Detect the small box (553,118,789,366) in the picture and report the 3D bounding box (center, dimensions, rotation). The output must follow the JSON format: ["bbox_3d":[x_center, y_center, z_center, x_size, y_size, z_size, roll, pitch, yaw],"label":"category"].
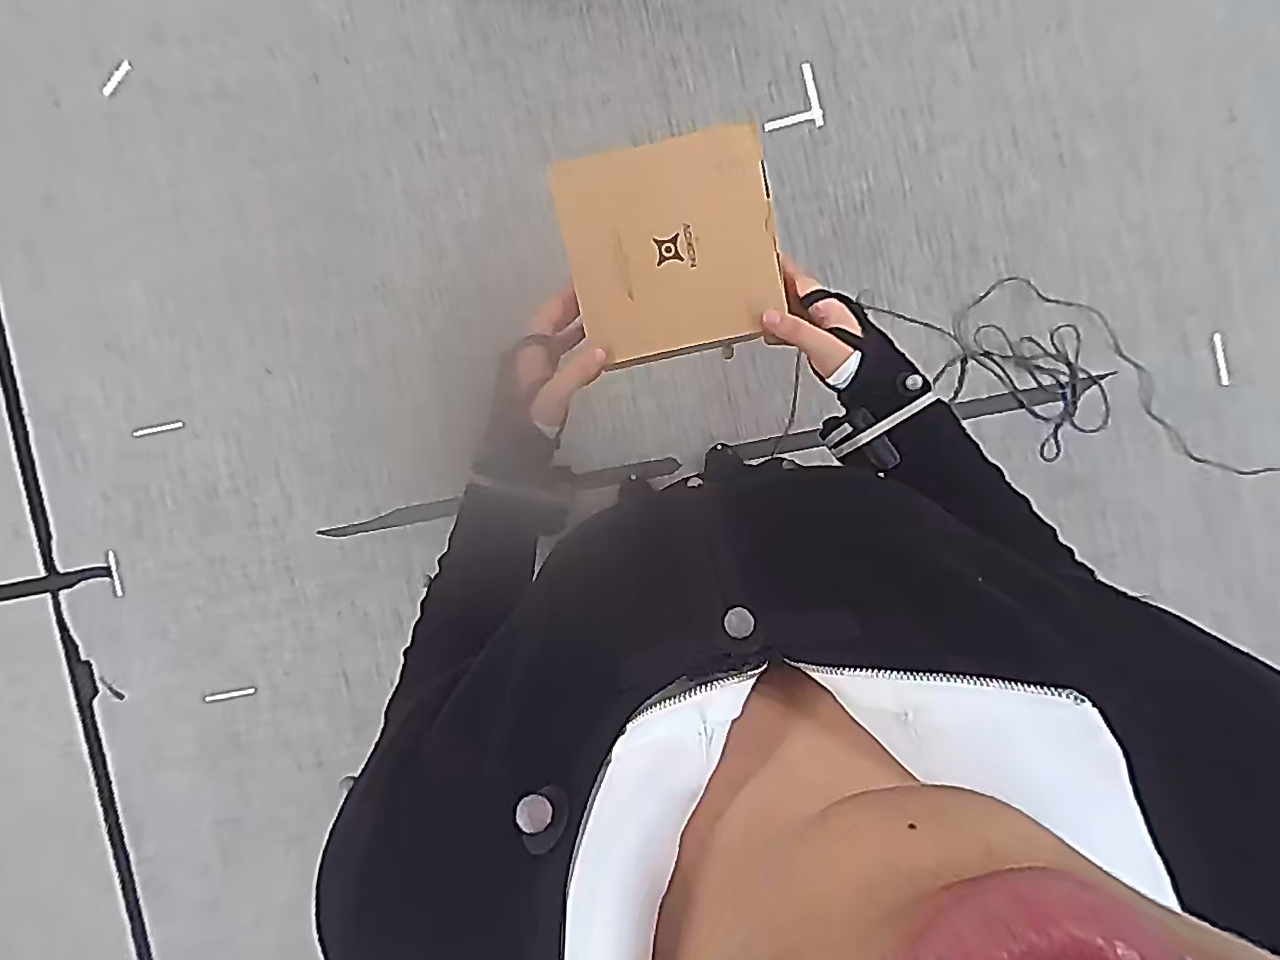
[{"bbox_3d":[0.028,-0.213,0.534,0.179,0.176,0.168,-13,99,2],"label":"small box"}]
